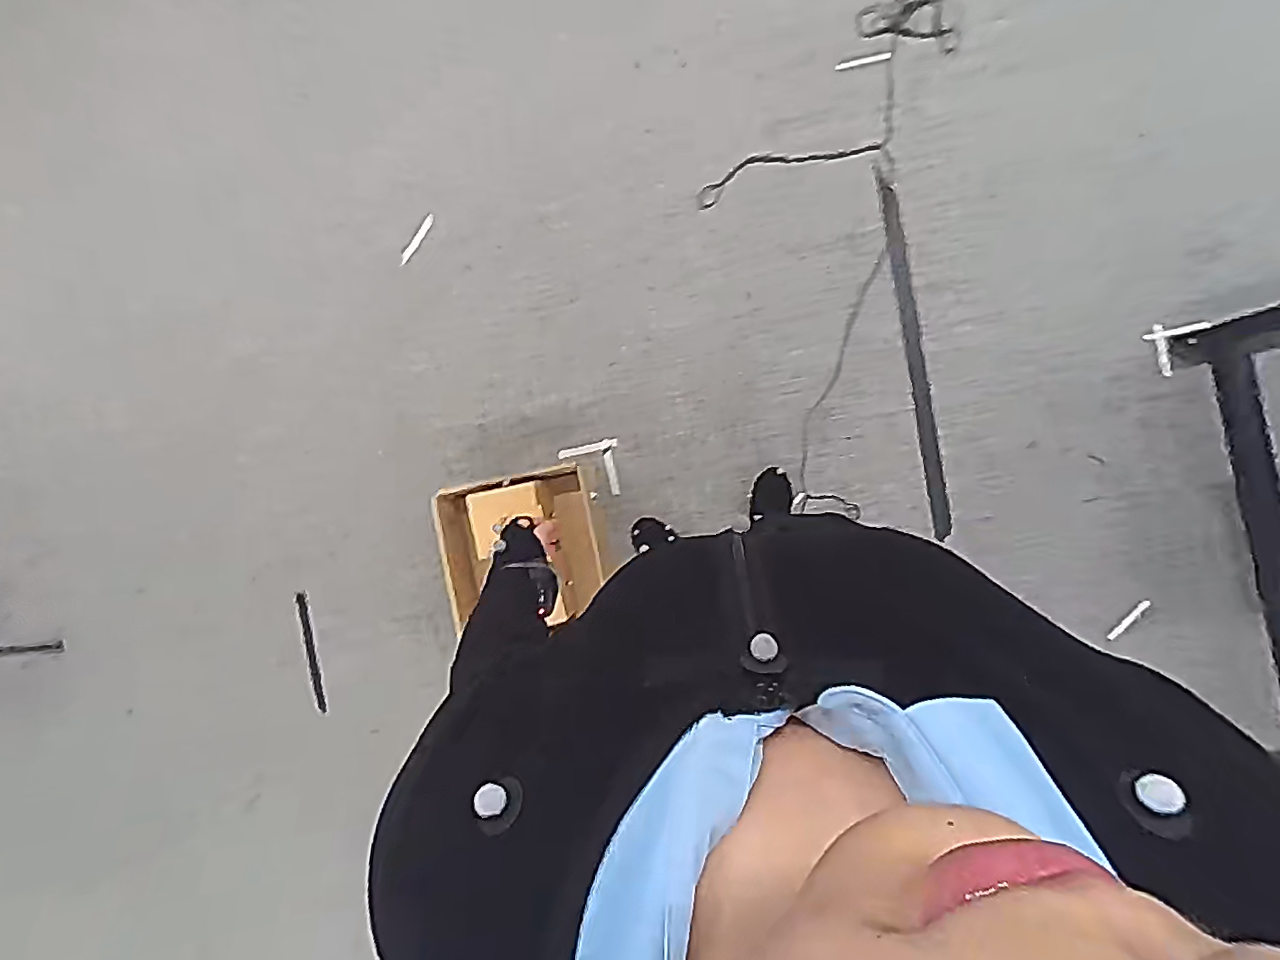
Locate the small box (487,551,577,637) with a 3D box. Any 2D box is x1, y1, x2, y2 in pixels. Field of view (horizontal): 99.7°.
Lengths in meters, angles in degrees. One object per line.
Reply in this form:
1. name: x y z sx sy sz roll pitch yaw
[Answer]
1. small box: -0.272 0.291 1.414 0.179 0.176 0.168 -16 88 5
